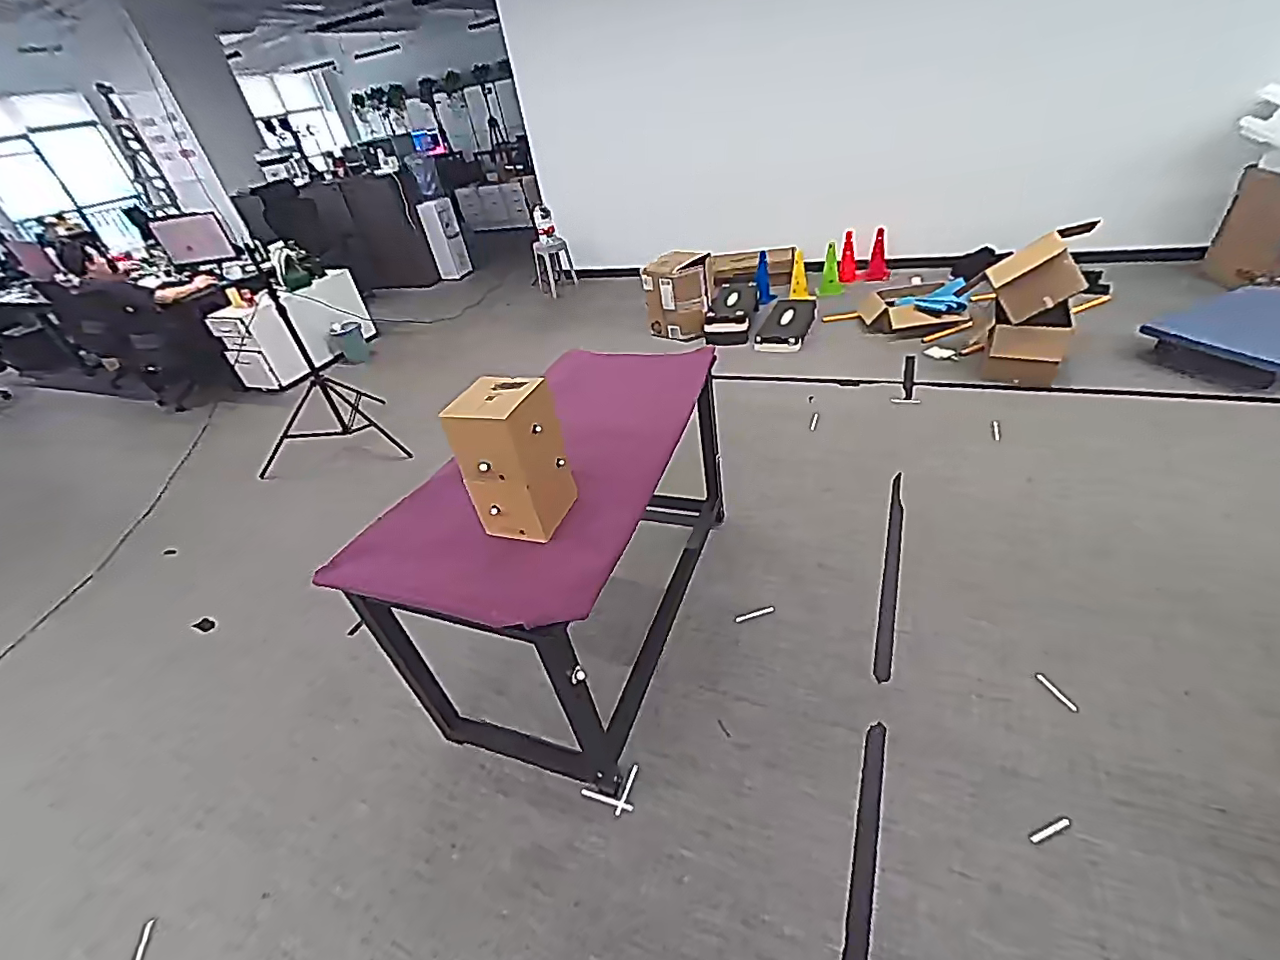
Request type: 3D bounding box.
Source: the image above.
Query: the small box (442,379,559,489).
[{"bbox_3d":[-0.290,-0.104,1.175,0.168,0.176,0.179,4,39,20],"label":"small box"}]

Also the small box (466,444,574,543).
[{"bbox_3d":[-0.271,0.028,1.272,0.168,0.176,0.179,5,38,20],"label":"small box"}]
